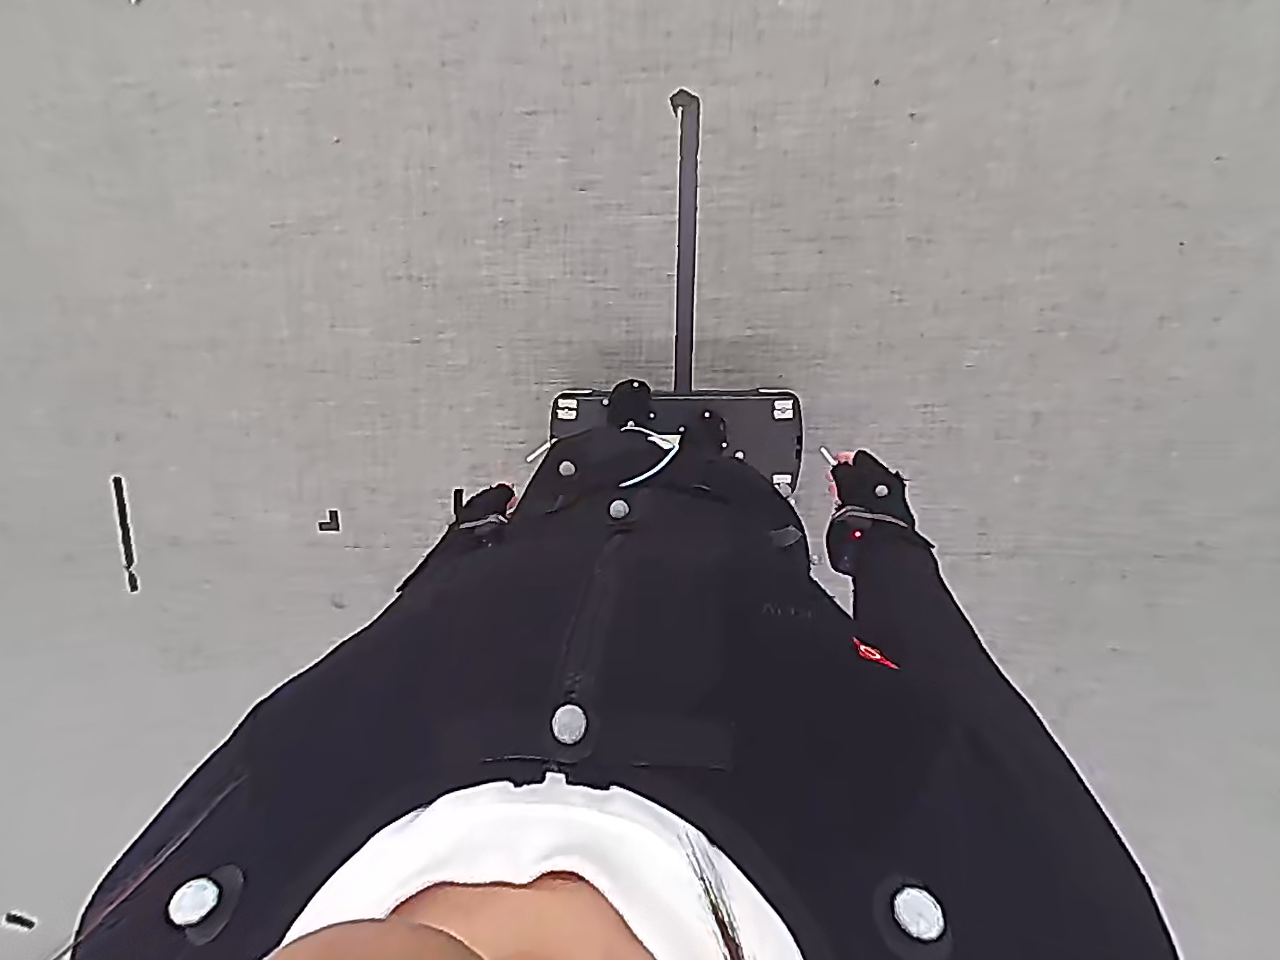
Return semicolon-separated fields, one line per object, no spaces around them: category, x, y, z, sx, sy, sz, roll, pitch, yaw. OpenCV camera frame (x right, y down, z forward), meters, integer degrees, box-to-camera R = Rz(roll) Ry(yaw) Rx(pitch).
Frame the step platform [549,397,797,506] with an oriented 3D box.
step platform;0.088;-0.081;1.523;0.684;0.204;0.286;-1;101;4
